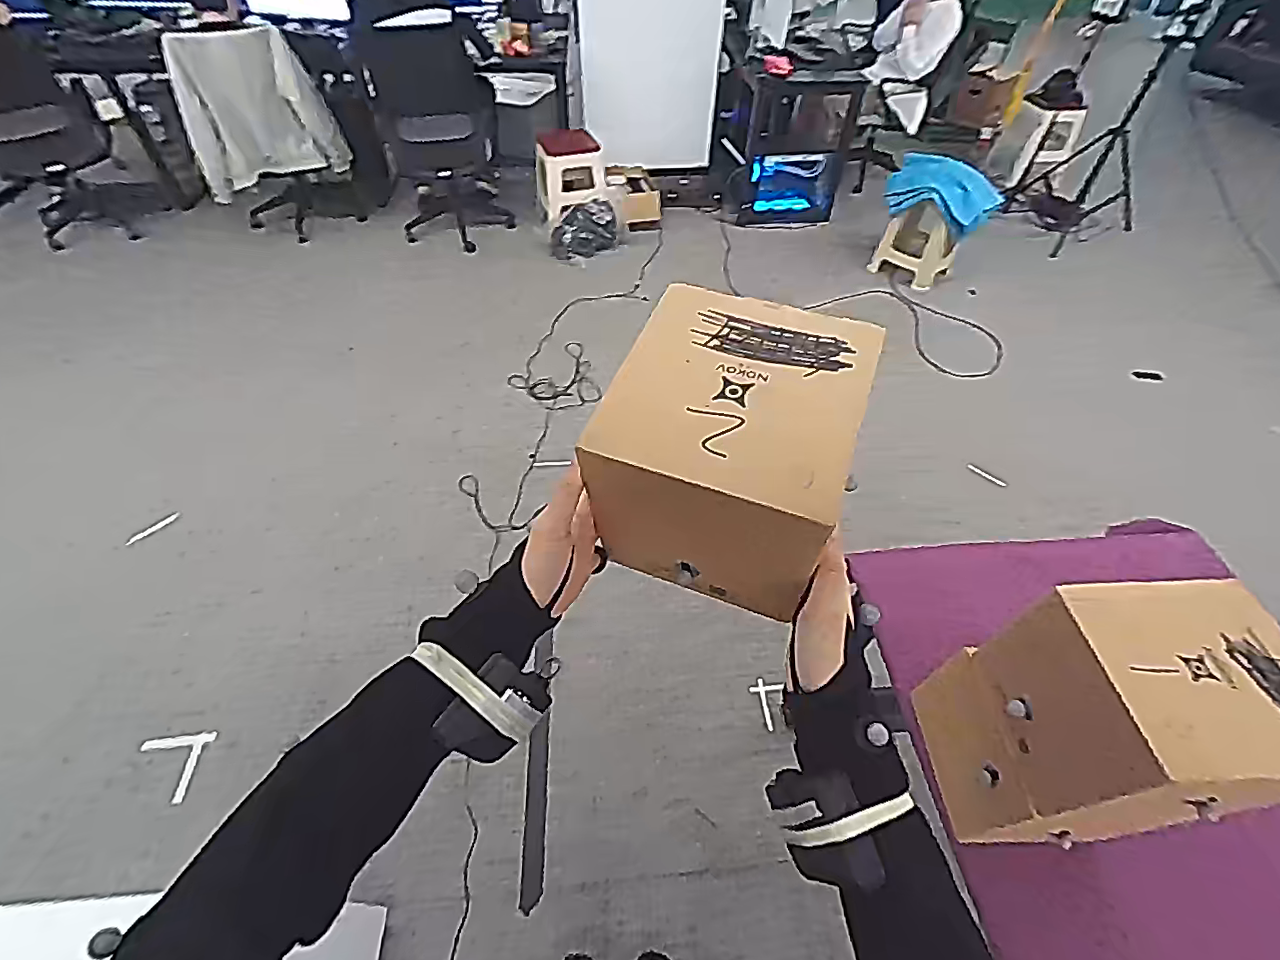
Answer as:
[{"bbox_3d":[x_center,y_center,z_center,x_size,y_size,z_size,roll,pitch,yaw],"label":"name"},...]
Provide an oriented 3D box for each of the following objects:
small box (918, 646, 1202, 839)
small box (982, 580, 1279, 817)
[{"bbox_3d":[0.462,0.310,0.634,0.168,0.176,0.179,0,49,-1],"label":"small box"},{"bbox_3d":[0.472,0.207,0.506,0.179,0.176,0.168,-1,50,-1],"label":"small box"}]
